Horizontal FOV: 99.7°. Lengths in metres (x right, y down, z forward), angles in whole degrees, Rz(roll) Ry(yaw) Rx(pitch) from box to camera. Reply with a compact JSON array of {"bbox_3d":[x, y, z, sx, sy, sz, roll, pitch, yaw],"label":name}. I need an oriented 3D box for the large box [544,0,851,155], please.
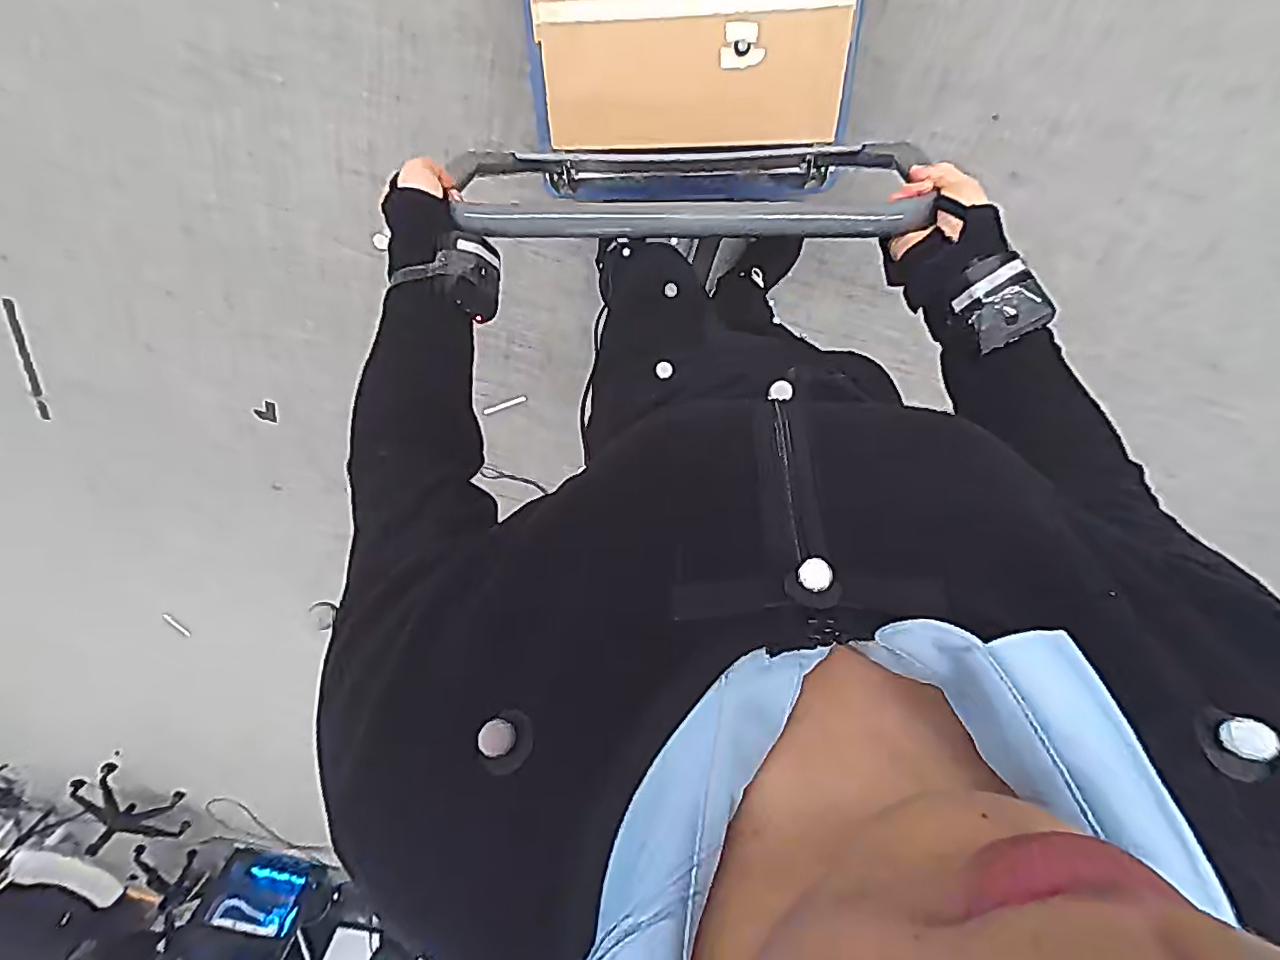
[{"bbox_3d":[0.082,-0.690,0.826,0.408,0.320,0.320,1,123,5],"label":"large box"}]
